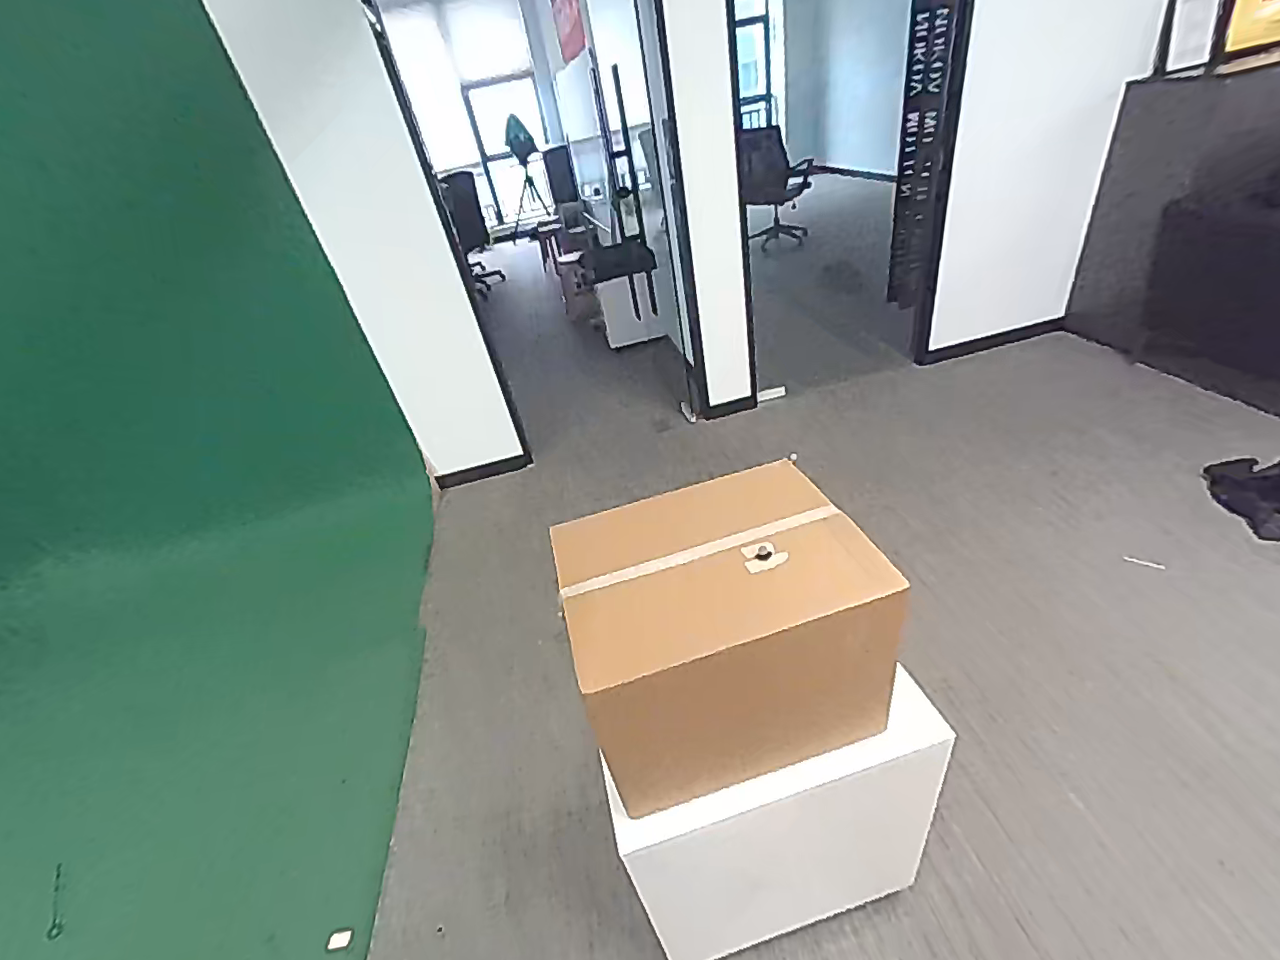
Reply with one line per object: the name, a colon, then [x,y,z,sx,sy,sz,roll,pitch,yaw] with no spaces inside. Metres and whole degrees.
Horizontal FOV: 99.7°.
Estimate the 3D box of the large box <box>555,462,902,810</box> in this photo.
large box: [0.114,0.221,0.829,0.408,0.320,0.320,-15,35,-7]
